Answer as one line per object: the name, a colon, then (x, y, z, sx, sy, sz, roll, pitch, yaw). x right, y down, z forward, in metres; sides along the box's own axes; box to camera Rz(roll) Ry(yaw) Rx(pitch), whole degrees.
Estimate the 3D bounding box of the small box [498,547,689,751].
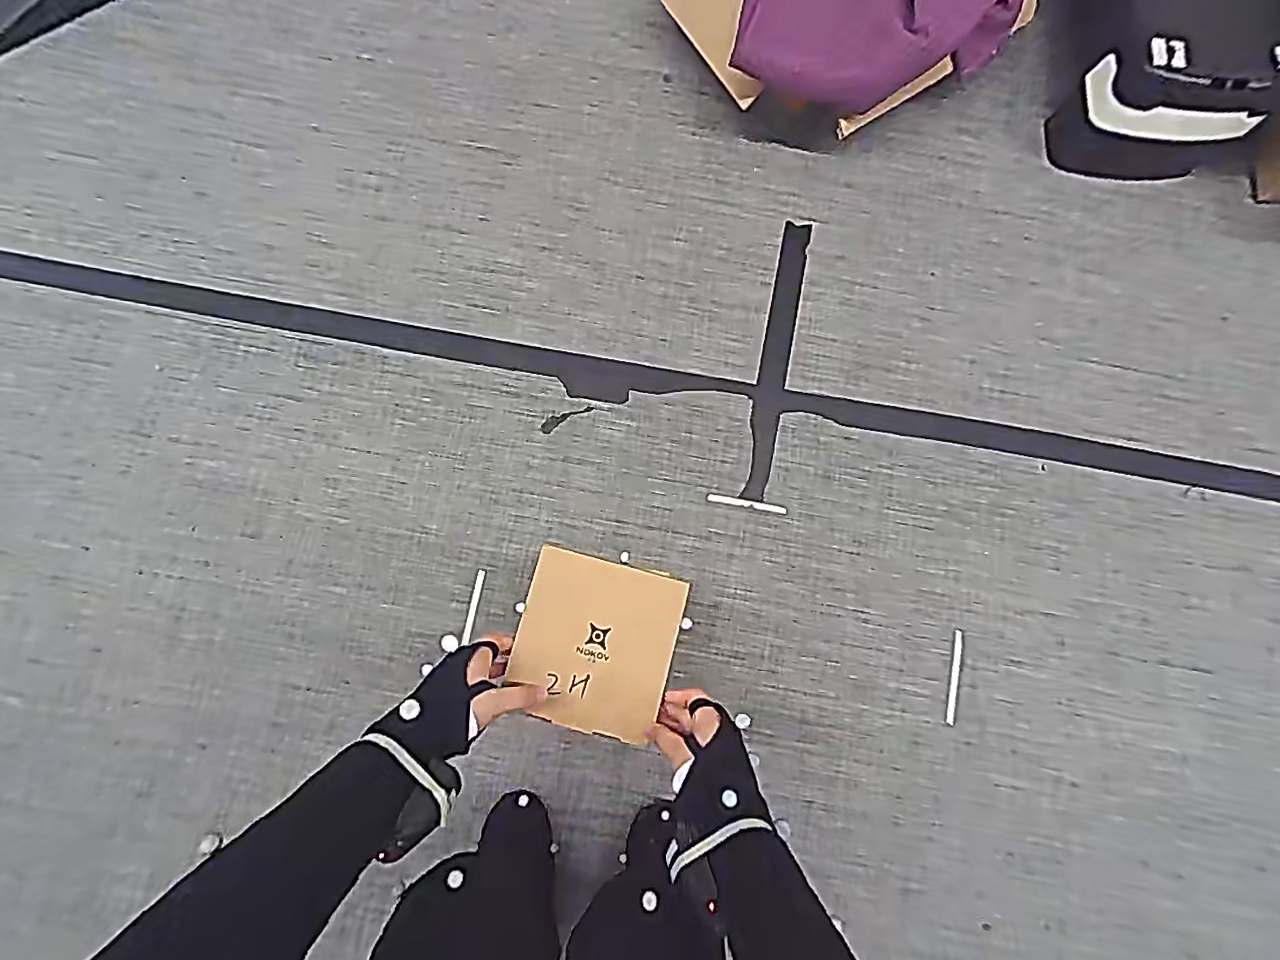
small box: (-0.050, 0.187, 0.646, 0.168, 0.176, 0.179, 15, 82, 1)
